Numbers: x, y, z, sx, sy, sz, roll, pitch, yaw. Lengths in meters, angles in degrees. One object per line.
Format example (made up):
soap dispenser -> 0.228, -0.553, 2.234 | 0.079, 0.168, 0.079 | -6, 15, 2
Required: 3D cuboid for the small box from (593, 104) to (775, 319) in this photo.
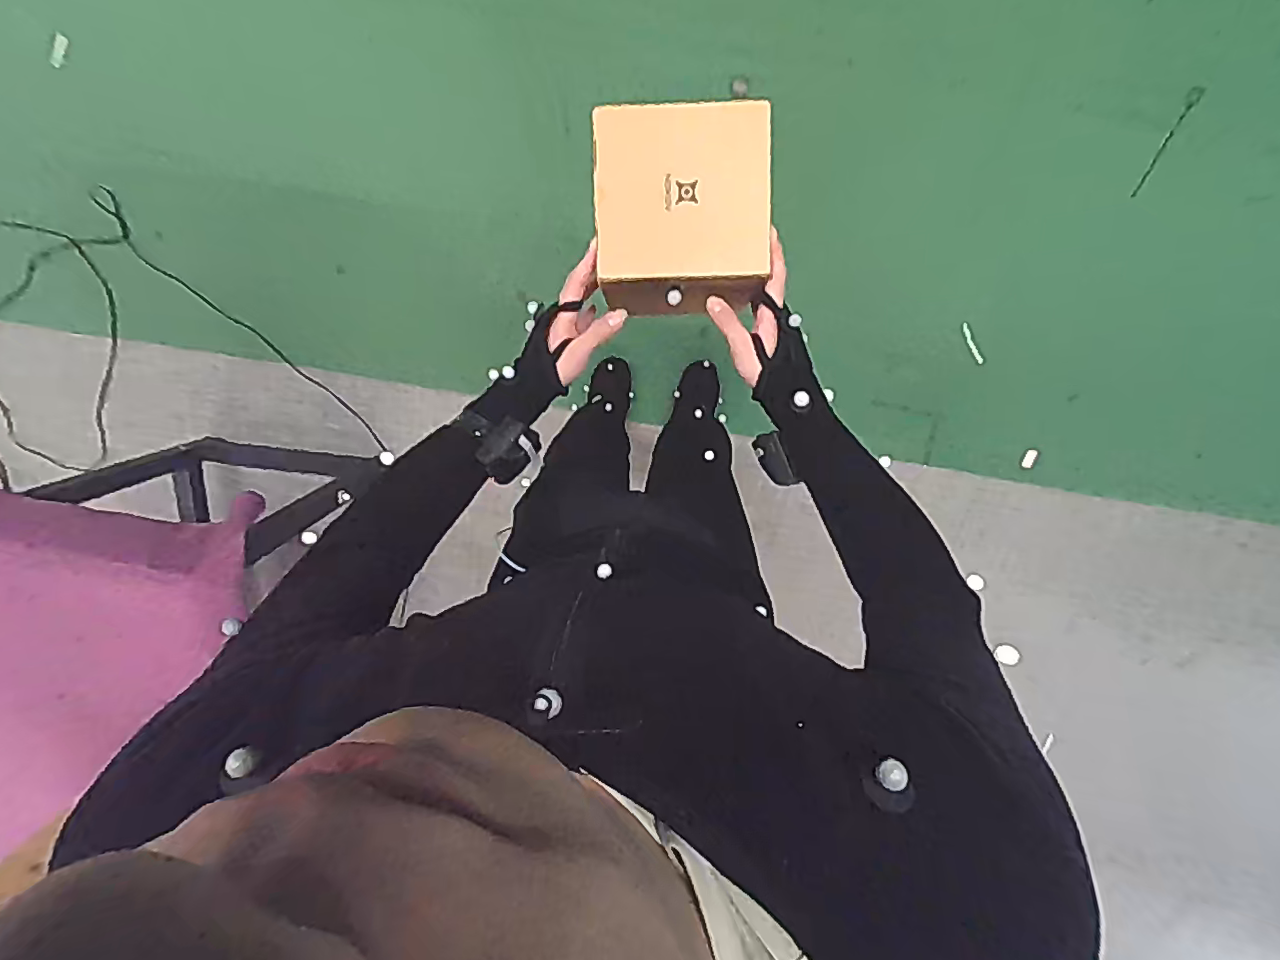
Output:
small box -> 0.046, -0.280, 0.601 | 0.179, 0.176, 0.168 | -1, 94, 3
